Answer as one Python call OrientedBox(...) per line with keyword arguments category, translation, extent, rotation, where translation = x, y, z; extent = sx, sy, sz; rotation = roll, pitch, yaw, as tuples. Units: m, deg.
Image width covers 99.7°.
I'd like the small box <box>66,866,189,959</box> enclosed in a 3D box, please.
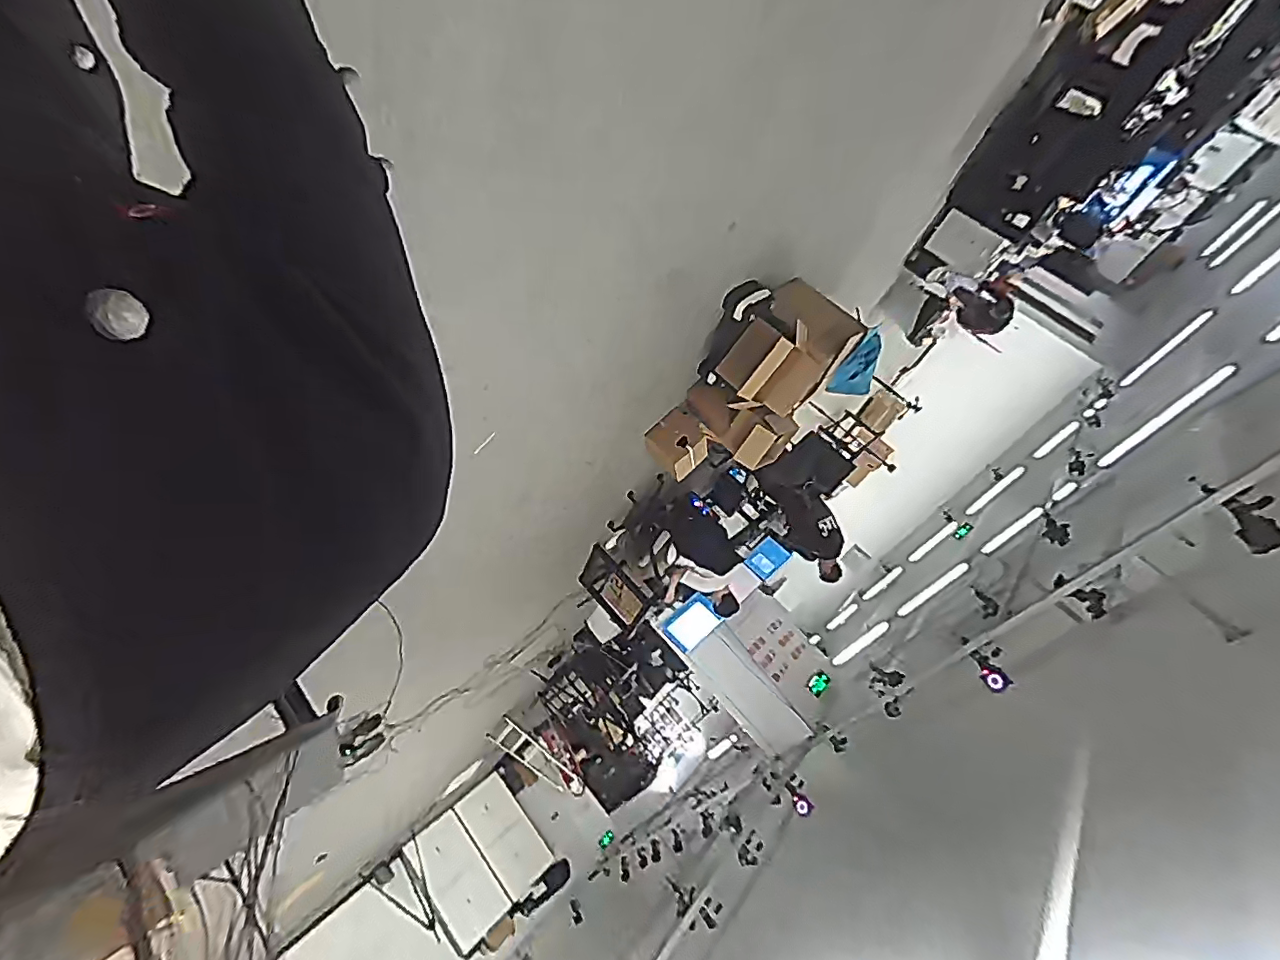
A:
OrientedBox(category="small box", translation=(-1.335, 1.160, 1.416), extent=(0.179, 0.176, 0.168), rotation=(-26, 154, -40))
